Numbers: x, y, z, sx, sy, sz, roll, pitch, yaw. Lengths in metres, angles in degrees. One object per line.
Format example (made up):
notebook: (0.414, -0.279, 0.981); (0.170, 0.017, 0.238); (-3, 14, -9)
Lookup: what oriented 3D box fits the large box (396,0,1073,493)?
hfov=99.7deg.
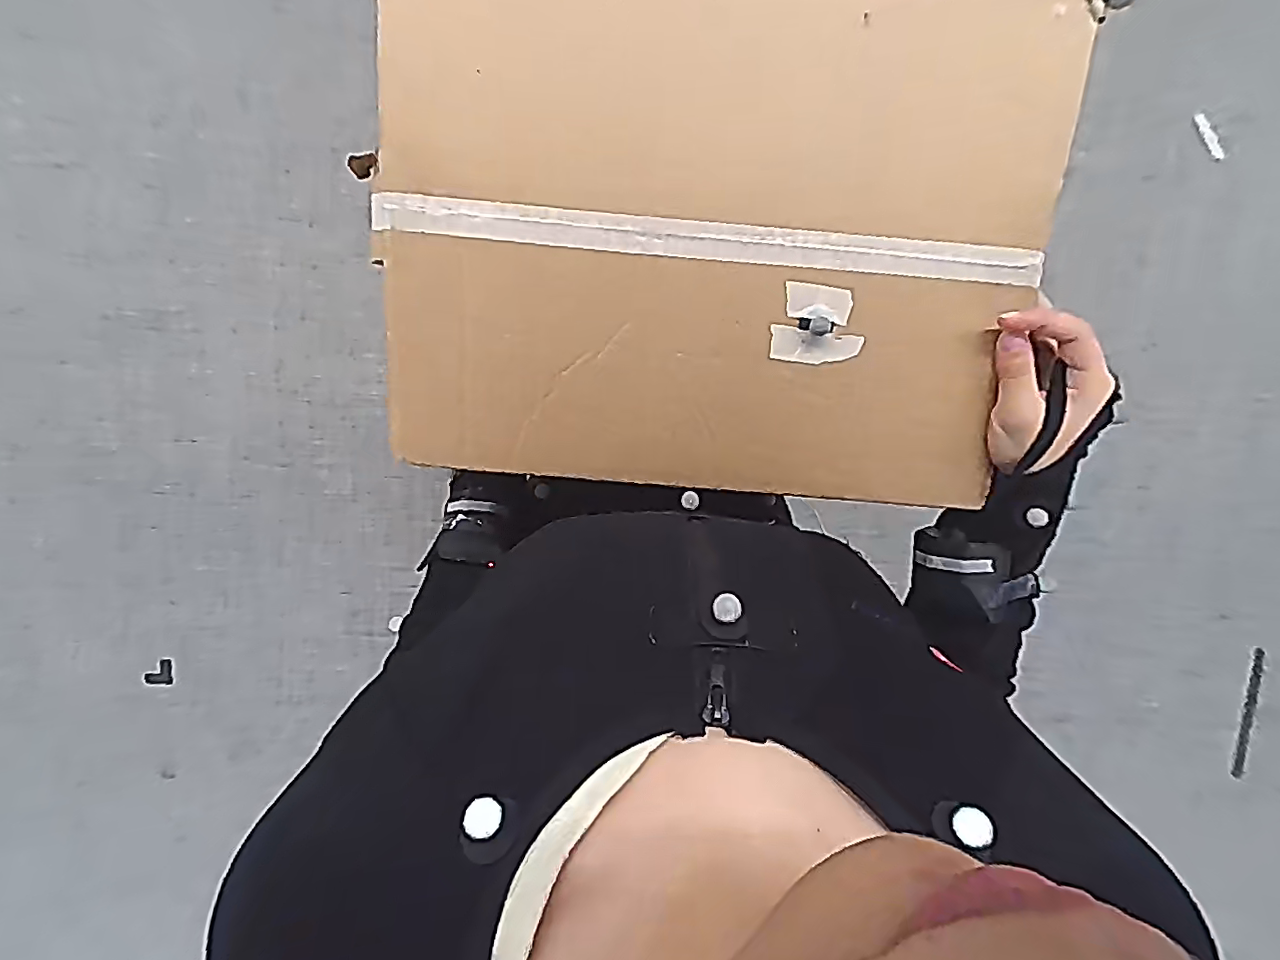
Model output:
large box: (0.044, -0.181, 0.487); (0.408, 0.320, 0.320); (4, 104, -3)
